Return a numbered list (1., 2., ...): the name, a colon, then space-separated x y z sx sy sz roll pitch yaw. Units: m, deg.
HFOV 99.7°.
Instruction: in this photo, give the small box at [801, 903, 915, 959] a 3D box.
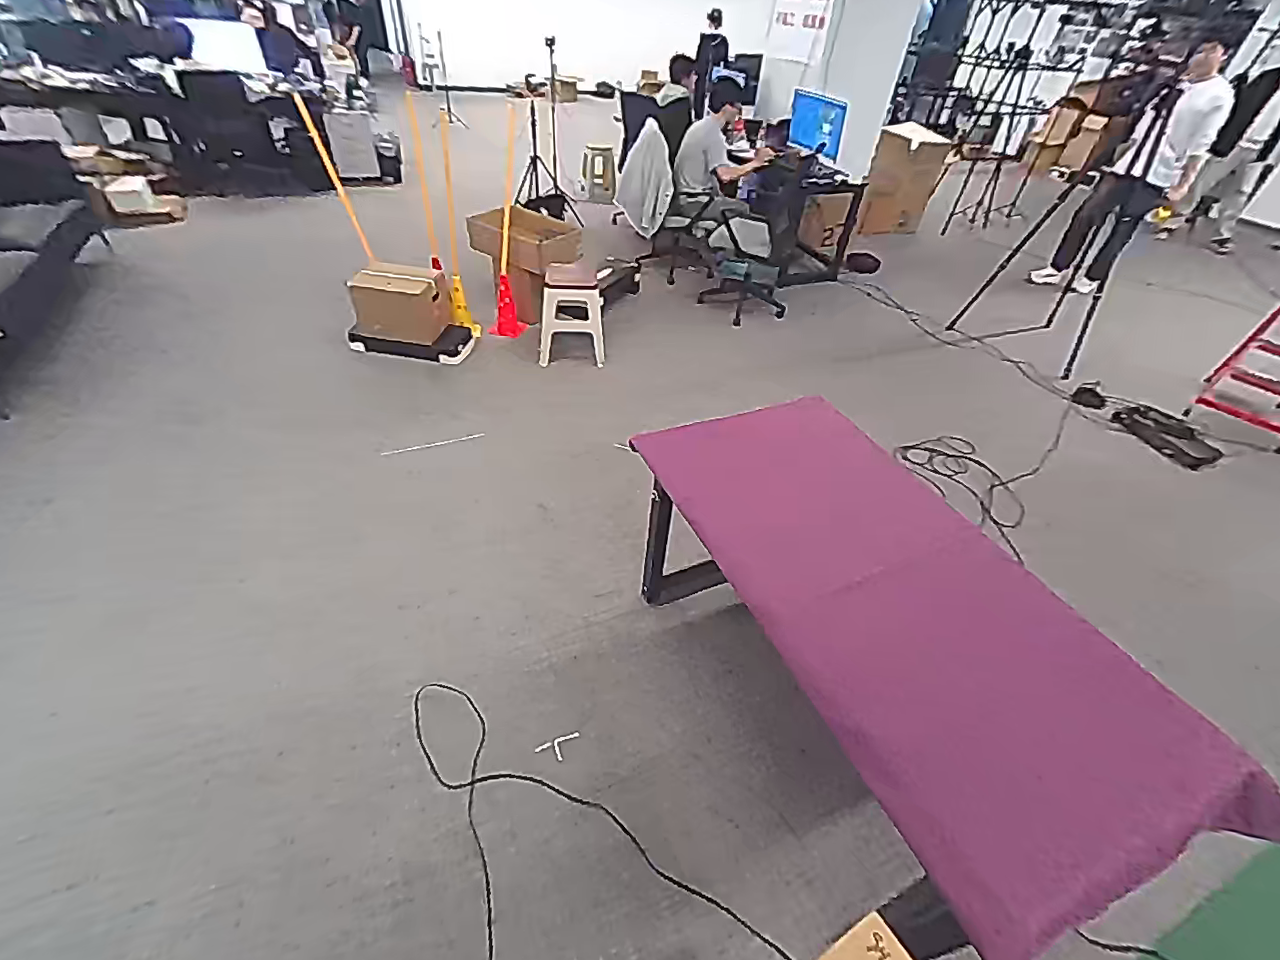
1. small box: 0.253 0.651 0.623 0.179 0.176 0.168 -21 41 -22
